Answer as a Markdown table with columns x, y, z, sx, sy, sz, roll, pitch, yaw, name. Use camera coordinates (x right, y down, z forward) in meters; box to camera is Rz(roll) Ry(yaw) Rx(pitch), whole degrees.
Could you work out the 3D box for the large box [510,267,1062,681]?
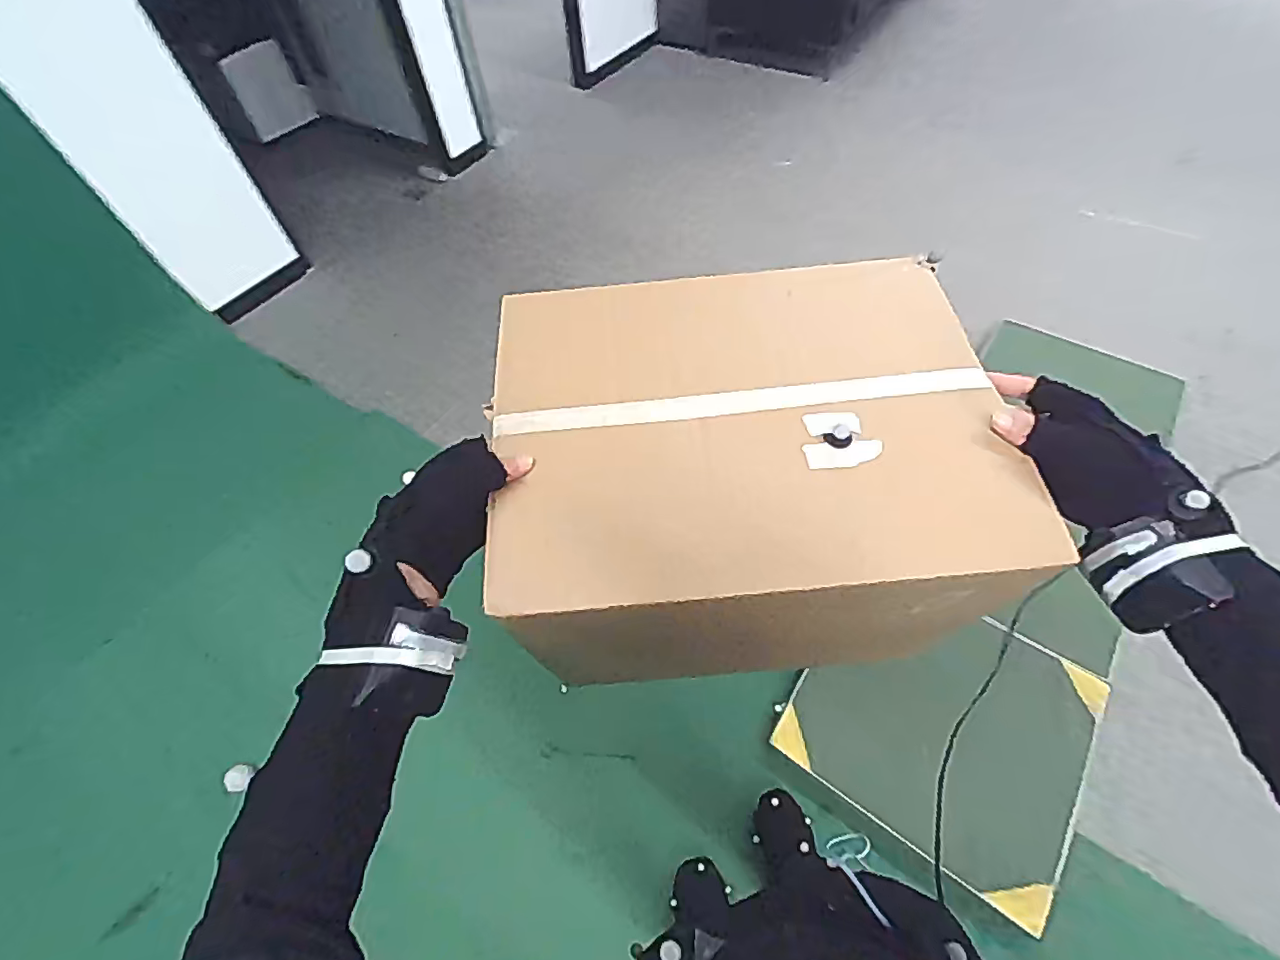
| x | y | z | sx | sy | sz | roll | pitch | yaw | name |
| --- | --- | --- | --- | --- | --- | --- | --- | --- | --- |
| 0.096 | 0.013 | 0.583 | 0.408 | 0.320 | 0.320 | -5 | 61 | 0 | large box |
